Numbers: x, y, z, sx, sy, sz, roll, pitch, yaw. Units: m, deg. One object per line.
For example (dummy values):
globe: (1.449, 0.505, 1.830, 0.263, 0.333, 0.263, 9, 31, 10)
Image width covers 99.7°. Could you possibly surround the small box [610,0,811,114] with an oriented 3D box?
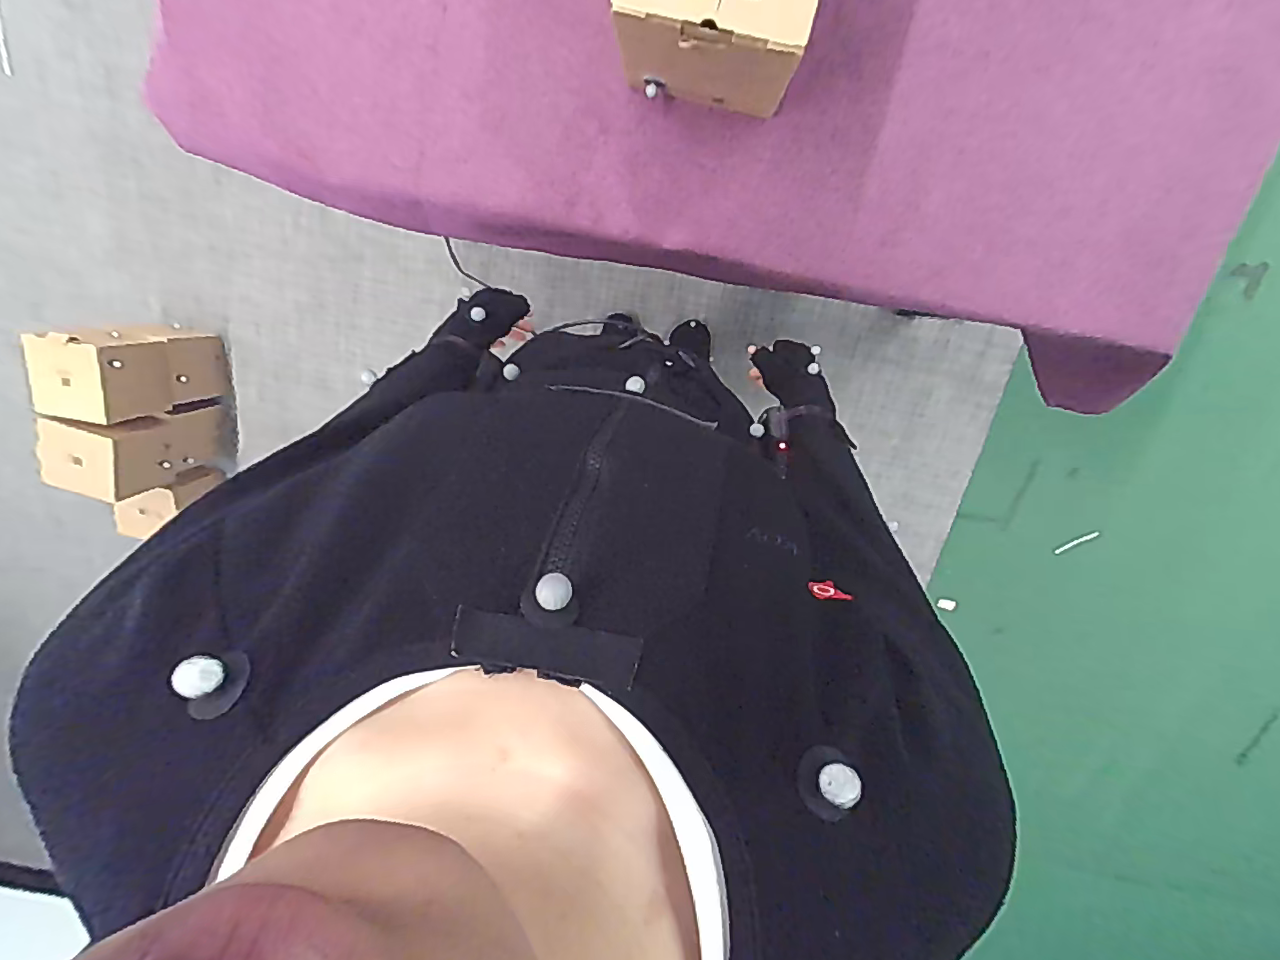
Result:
small box: (0.077, -0.474, 0.500, 0.168, 0.176, 0.179, 13, 107, -1)
